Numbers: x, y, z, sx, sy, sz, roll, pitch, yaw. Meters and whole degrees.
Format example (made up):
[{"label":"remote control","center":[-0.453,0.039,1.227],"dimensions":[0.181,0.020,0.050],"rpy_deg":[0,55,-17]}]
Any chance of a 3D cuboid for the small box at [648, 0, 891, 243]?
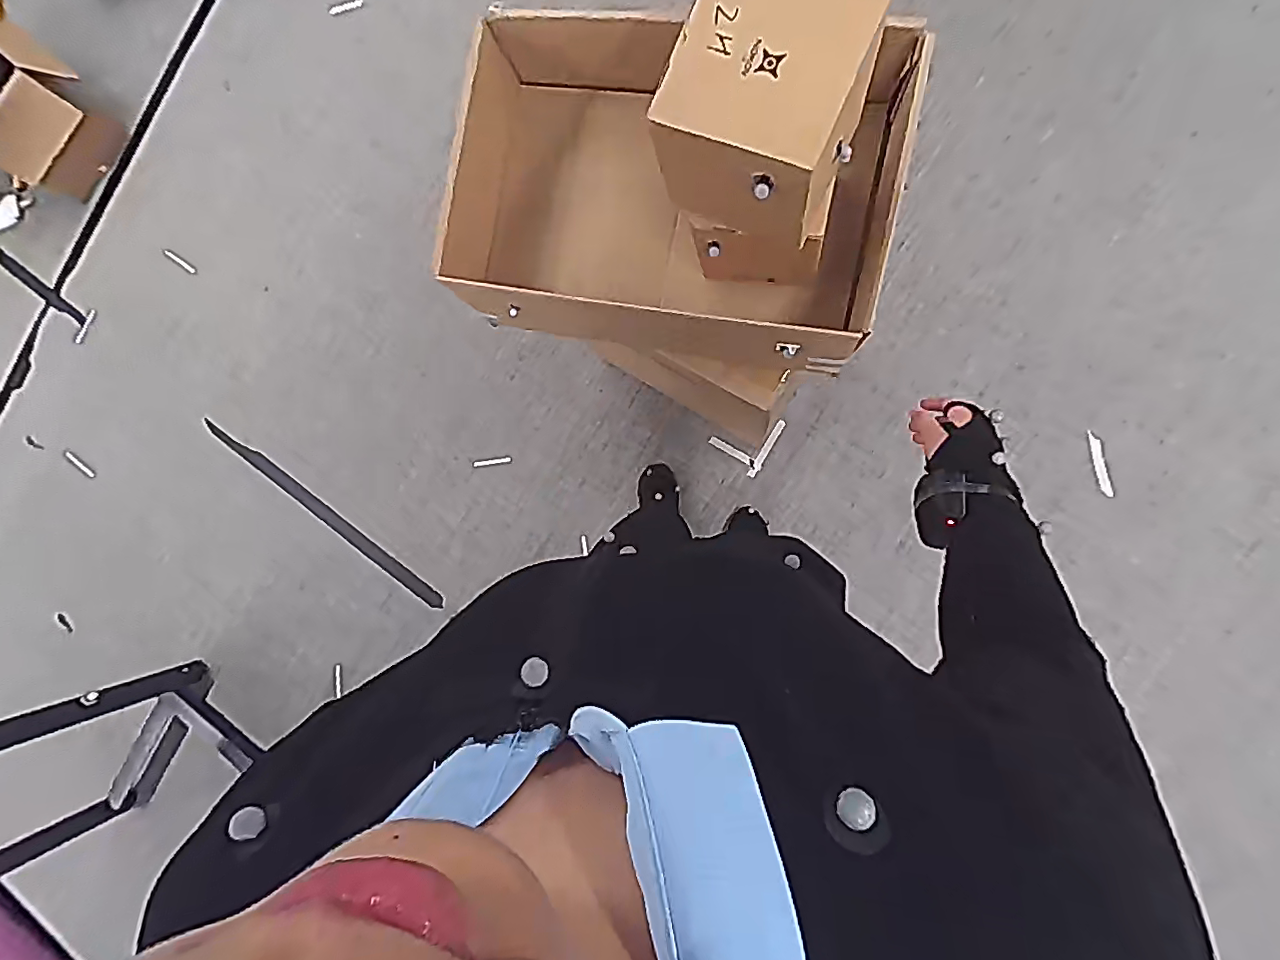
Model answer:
[{"label":"small box","center":[0.134,-0.384,0.583],"dimensions":[0.179,0.176,0.168],"rpy_deg":[25,94,12]}]
